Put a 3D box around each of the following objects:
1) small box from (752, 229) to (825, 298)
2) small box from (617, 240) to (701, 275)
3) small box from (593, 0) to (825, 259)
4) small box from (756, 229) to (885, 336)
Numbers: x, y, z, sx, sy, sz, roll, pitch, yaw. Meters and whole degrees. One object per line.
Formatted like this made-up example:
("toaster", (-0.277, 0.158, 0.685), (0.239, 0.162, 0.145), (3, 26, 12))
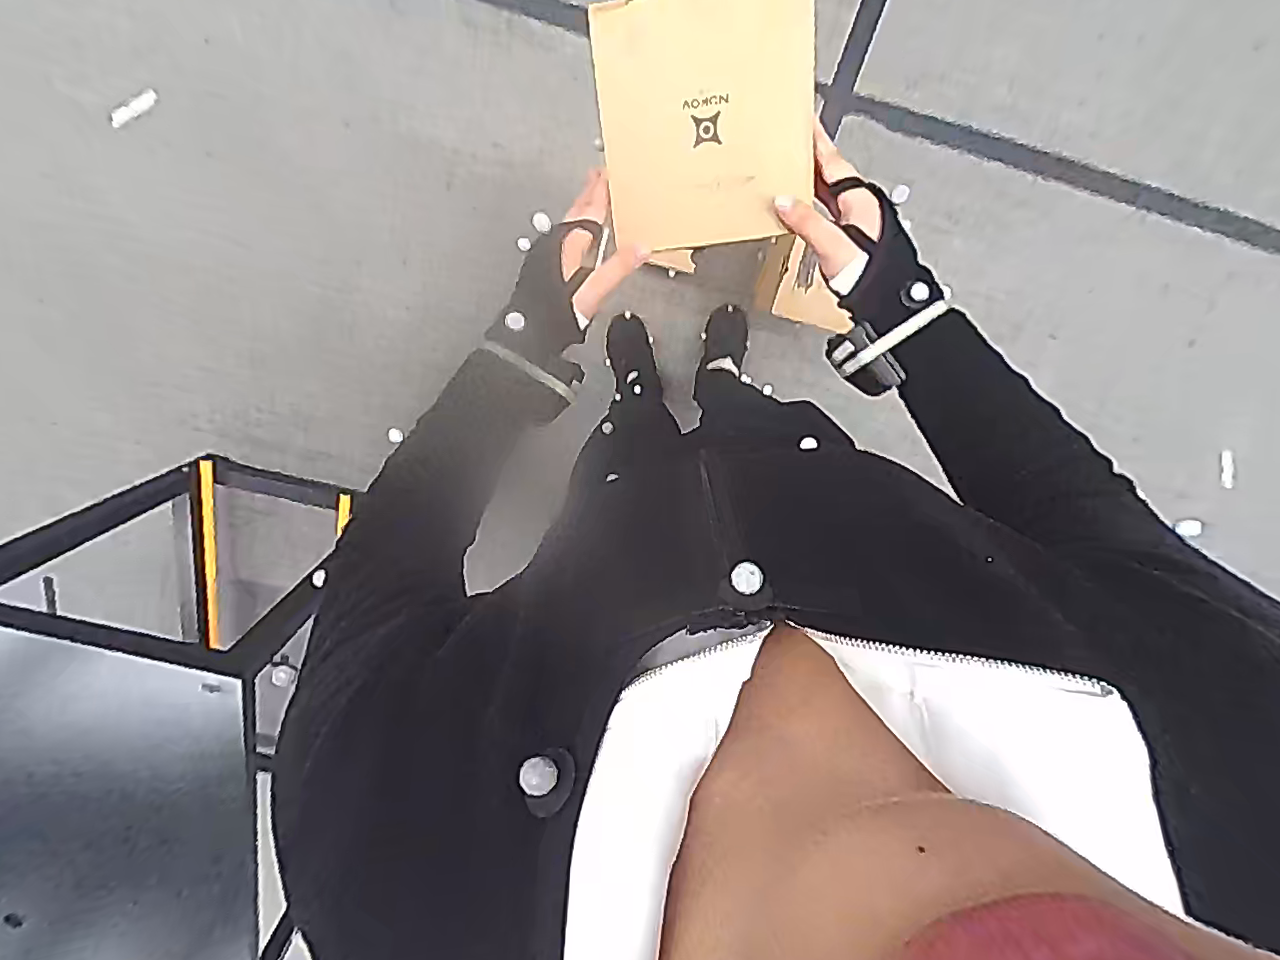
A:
("small box", (0.369, -0.483, 1.246), (0.168, 0.176, 0.179), (16, 113, -6))
("small box", (0.054, -0.570, 1.212), (0.179, 0.176, 0.168), (13, 112, -4))
("small box", (0.062, -0.304, 0.483), (0.168, 0.176, 0.179), (-4, 116, 9))
("small box", (0.353, -0.406, 1.099), (0.179, 0.176, 0.168), (14, 113, -6))
